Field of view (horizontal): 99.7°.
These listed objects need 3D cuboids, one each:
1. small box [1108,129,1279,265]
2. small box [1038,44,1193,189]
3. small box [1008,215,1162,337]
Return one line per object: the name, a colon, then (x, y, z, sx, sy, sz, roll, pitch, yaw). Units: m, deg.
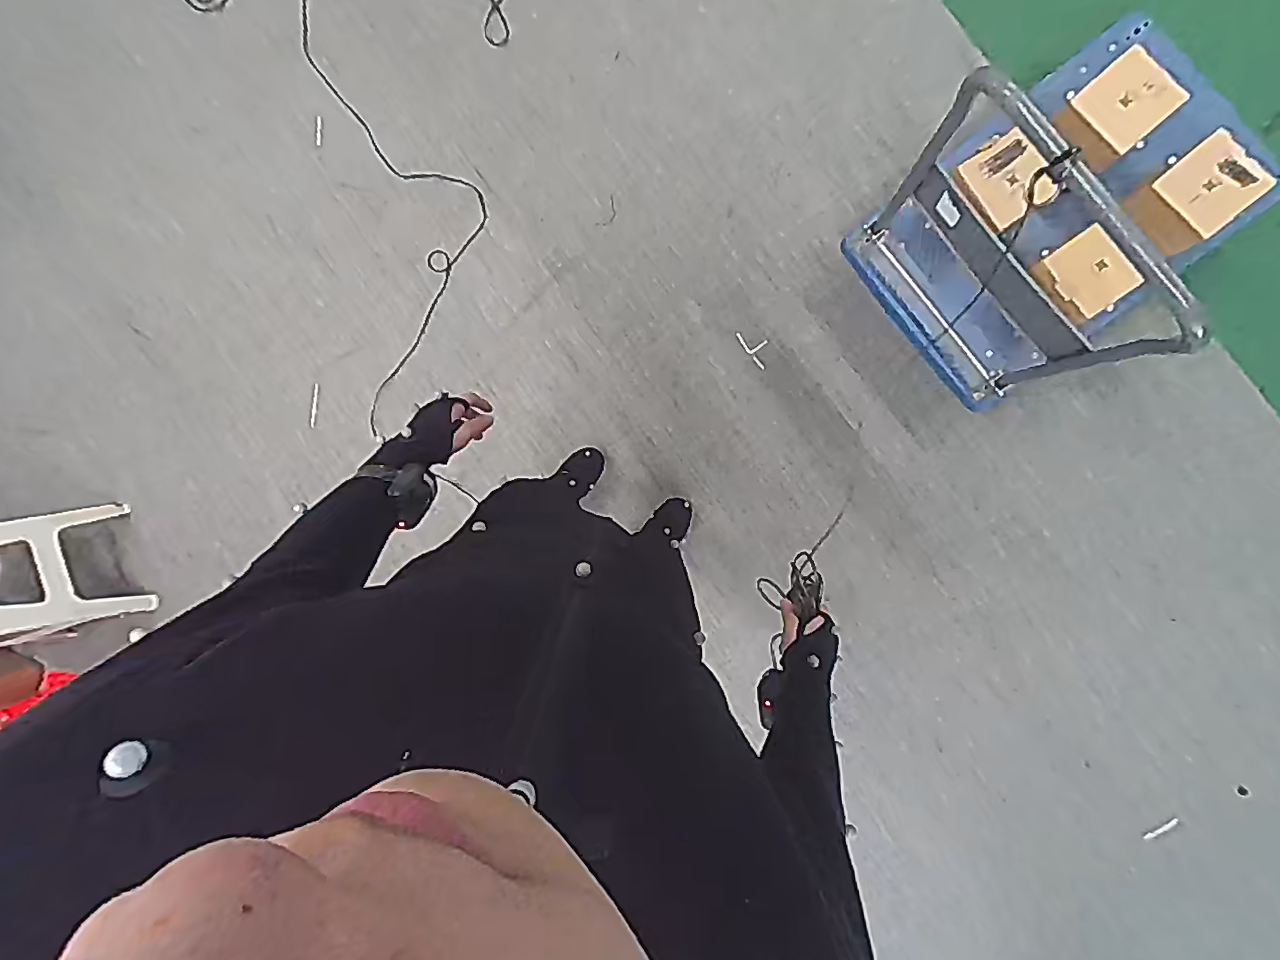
small box: (1.218, -0.618, 1.207, 0.179, 0.176, 0.168, -41, 85, 7)
small box: (1.054, -0.809, 1.226, 0.179, 0.176, 0.168, -41, 87, 6)
small box: (1.004, -0.457, 1.239, 0.179, 0.176, 0.168, -36, 87, 7)
